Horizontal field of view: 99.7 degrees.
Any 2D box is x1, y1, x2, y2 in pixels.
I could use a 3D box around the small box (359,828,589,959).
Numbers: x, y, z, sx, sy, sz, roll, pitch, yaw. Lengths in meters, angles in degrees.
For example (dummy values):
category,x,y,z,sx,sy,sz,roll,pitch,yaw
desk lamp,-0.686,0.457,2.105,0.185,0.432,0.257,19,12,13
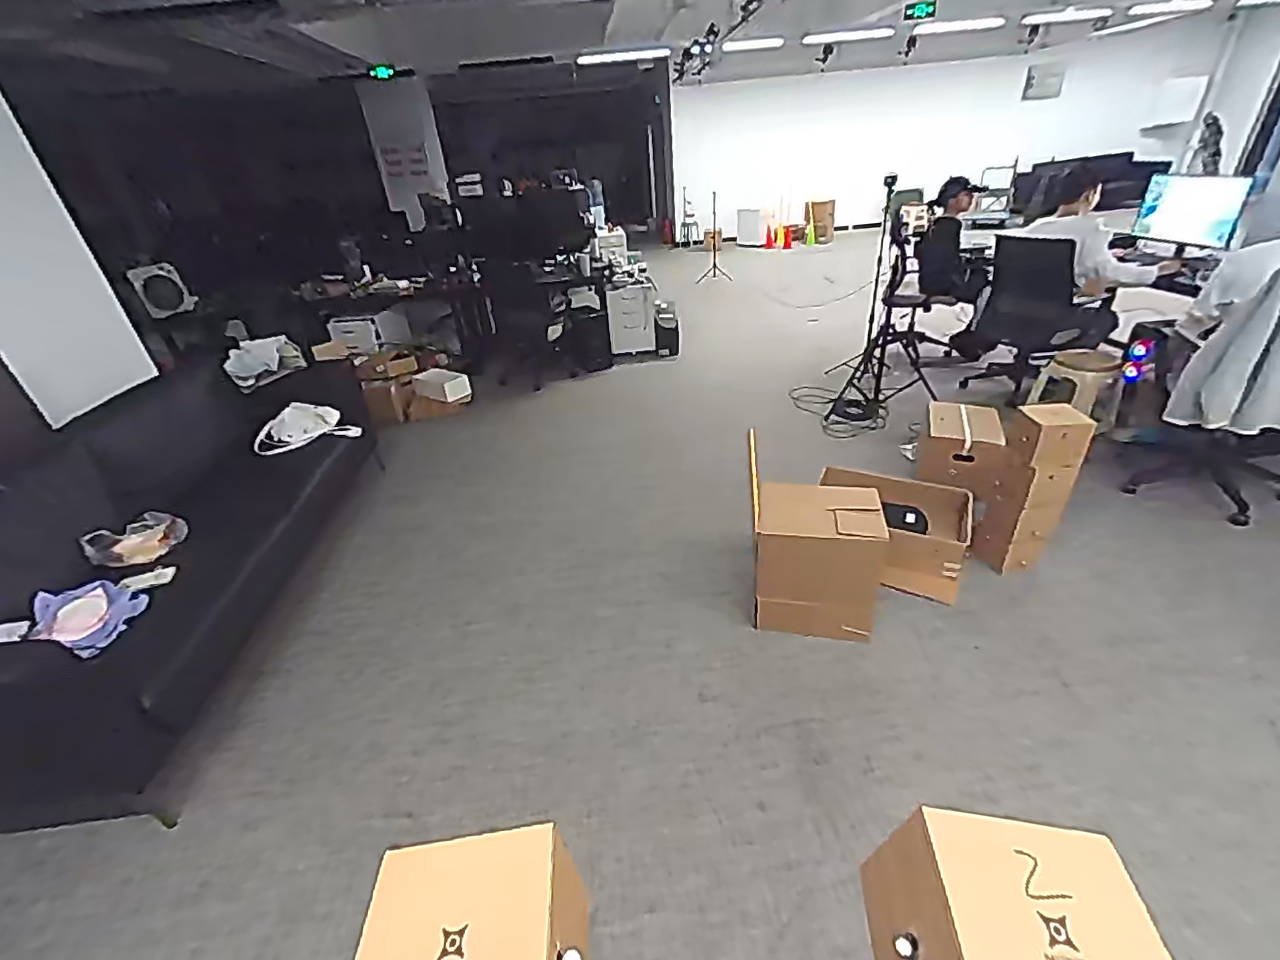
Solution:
category,x,y,z,sx,sy,sz,roll,pitch,yaw
small box,-0.140,0.455,0.484,0.168,0.176,0.179,-9,33,0
